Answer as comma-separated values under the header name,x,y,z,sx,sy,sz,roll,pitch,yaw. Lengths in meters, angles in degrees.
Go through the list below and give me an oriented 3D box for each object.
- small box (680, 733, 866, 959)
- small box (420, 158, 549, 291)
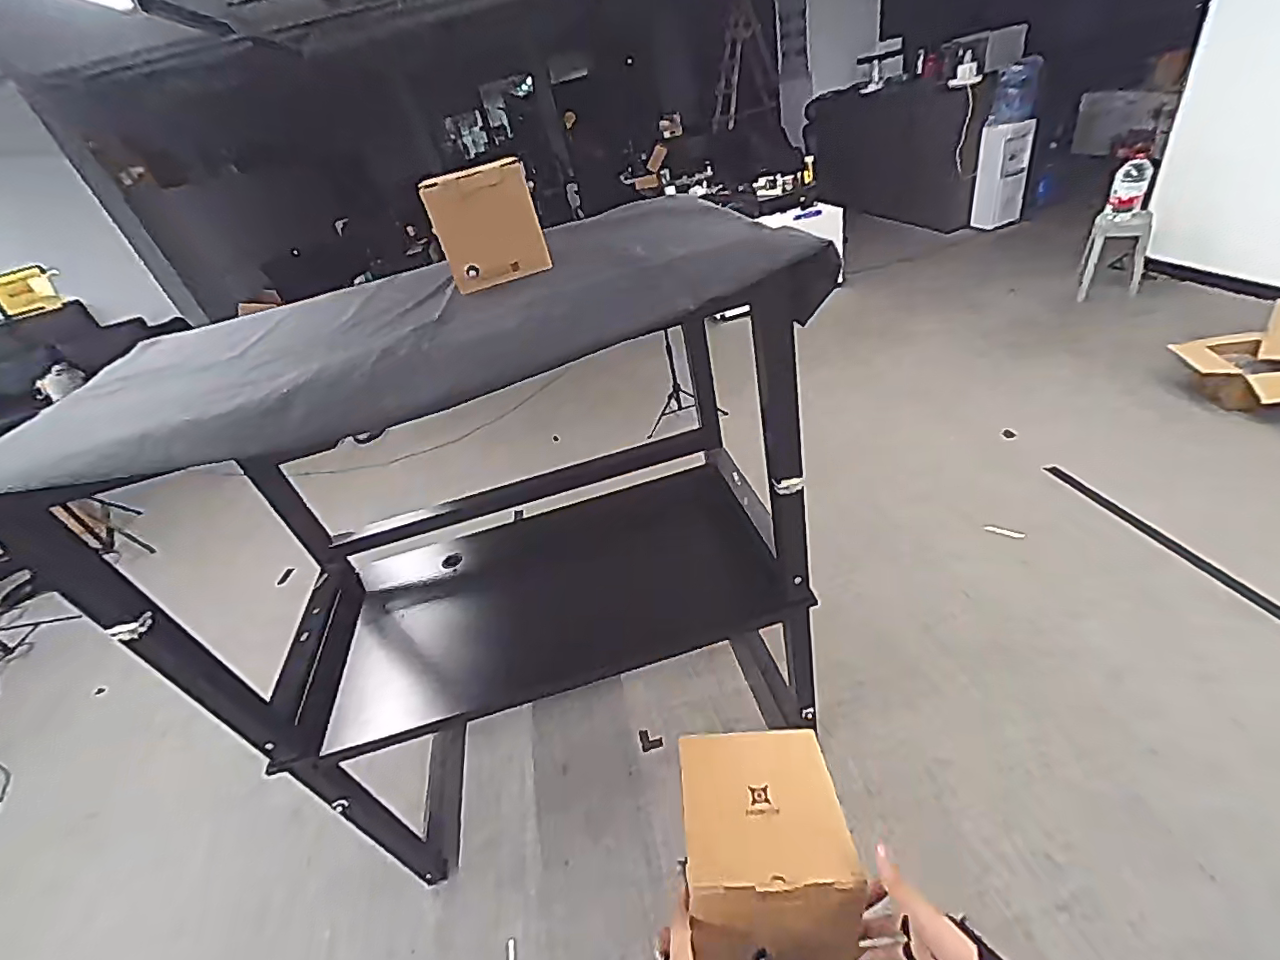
name,x,y,z,sx,sy,sz,roll,pitch,yaw
small box,0.131,0.416,0.607,0.168,0.176,0.179,-3,24,1
small box,-0.268,-0.451,0.959,0.168,0.176,0.179,-18,35,-5
